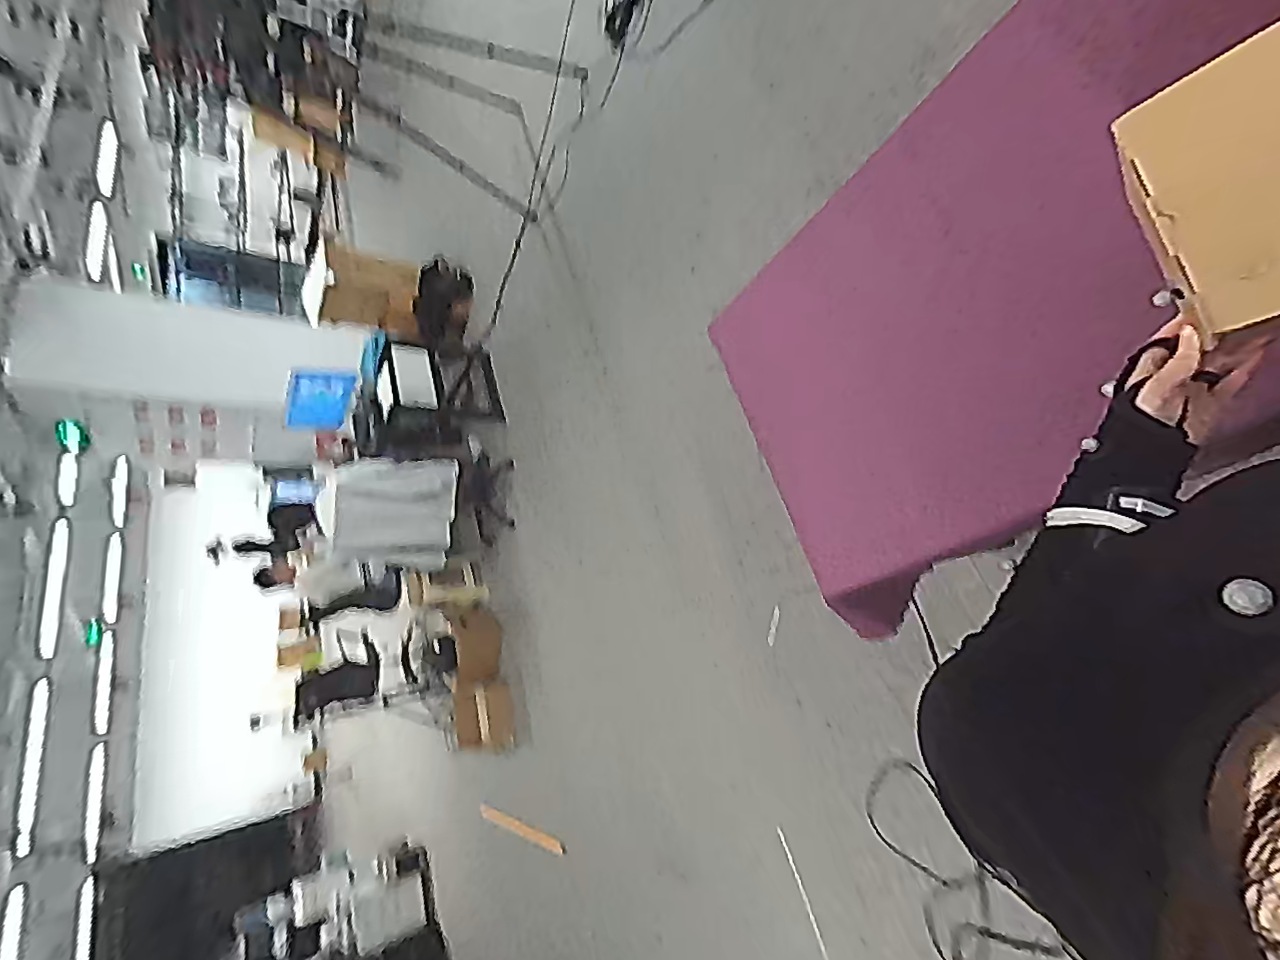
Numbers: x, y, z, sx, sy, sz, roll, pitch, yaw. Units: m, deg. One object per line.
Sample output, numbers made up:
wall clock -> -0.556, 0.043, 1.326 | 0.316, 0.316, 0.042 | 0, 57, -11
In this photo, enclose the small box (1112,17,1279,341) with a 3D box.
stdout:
small box -> 0.464, -0.207, 0.364 | 0.179, 0.176, 0.168 | -23, 79, 44
